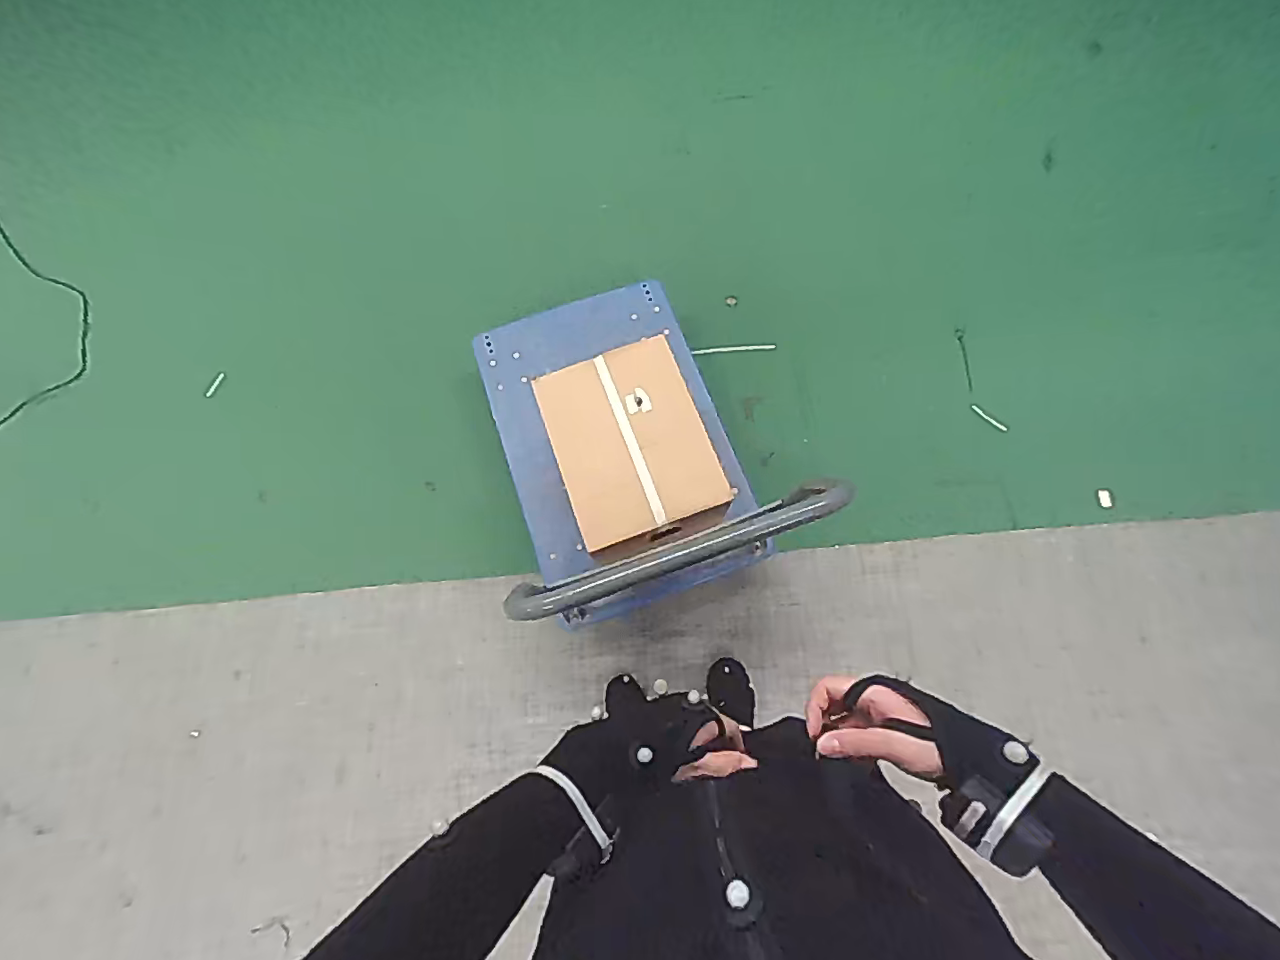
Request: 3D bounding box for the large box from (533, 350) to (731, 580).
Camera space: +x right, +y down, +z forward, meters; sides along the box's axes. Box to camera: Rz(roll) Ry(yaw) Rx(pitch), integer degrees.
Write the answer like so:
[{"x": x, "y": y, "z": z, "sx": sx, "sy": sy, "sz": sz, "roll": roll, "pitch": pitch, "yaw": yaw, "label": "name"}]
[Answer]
[{"x": -0.015, "y": -0.019, "z": 1.279, "sx": 0.320, "sy": 0.320, "sz": 0.408, "roll": -20, "pitch": 72, "yaw": -4, "label": "large box"}]
